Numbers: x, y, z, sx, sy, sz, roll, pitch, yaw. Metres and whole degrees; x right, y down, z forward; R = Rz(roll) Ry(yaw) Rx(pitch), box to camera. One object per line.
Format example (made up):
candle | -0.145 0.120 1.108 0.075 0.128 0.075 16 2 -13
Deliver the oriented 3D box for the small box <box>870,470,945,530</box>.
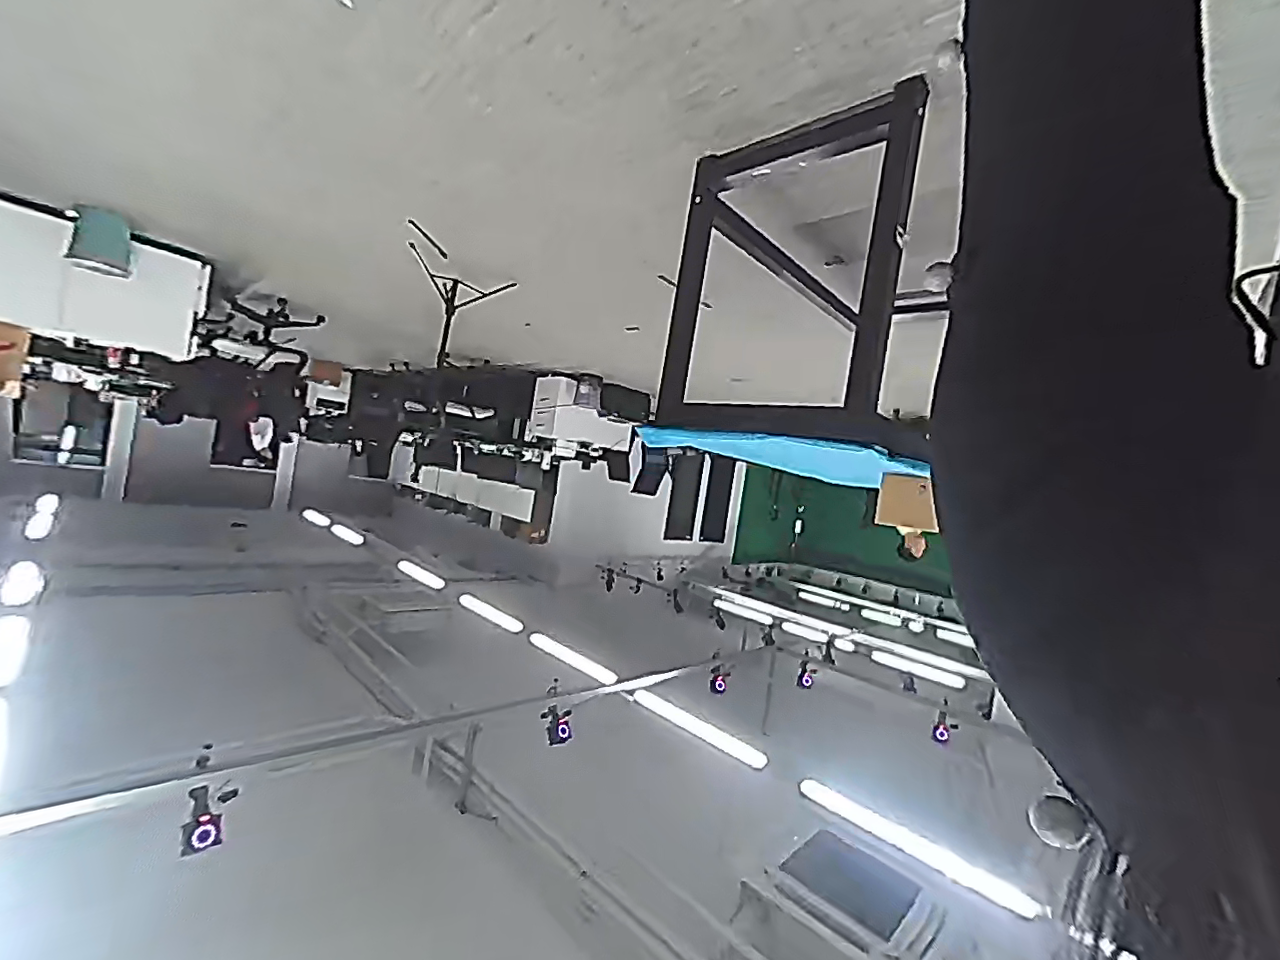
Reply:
small box | 0.877 0.068 1.774 0.179 0.176 0.168 8 179 39
